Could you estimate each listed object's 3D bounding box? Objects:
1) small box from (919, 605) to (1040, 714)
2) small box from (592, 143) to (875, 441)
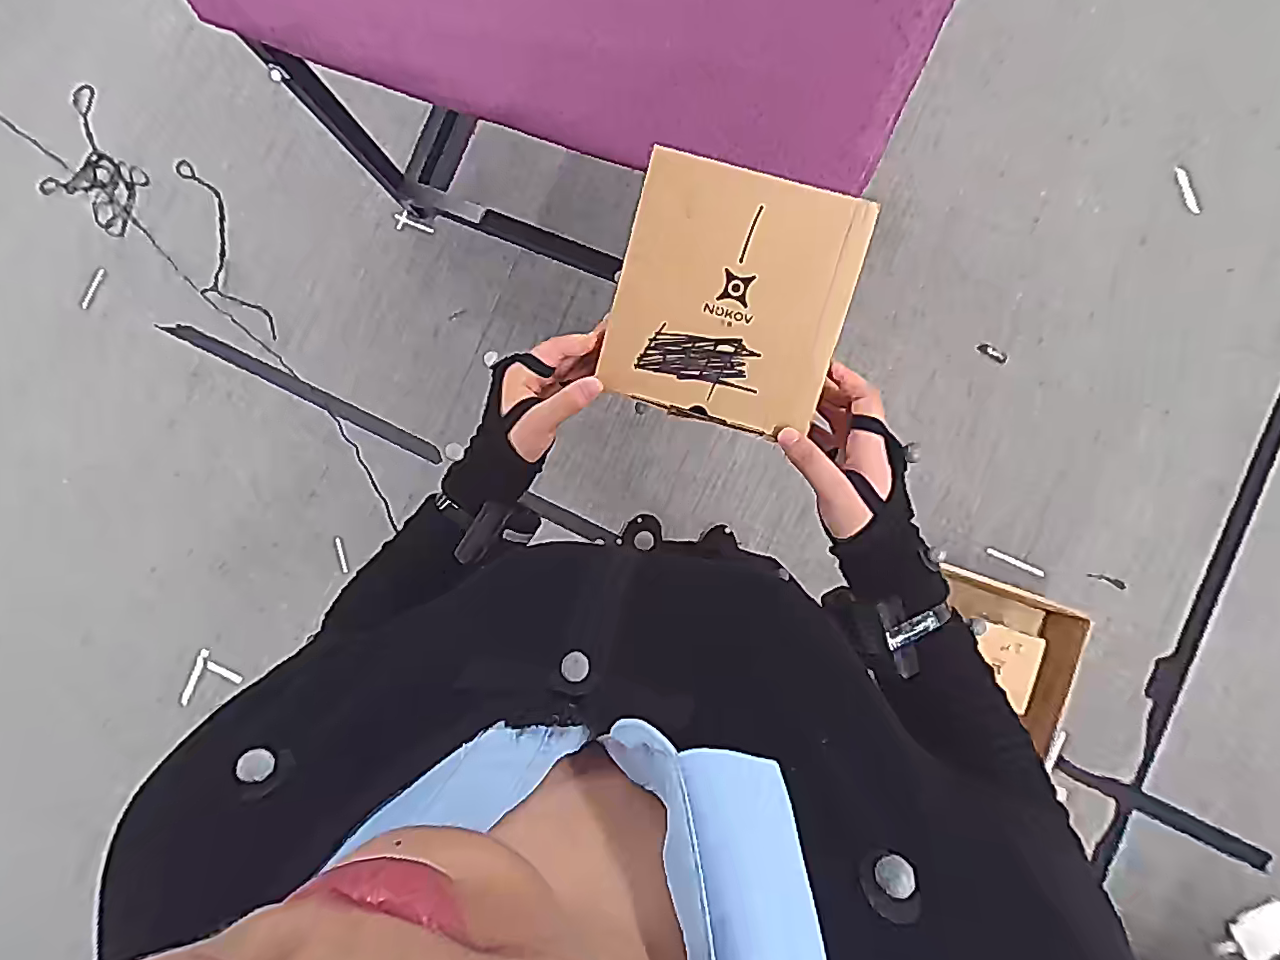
[{"bbox_3d":[0.793,0.416,1.284,0.168,0.176,0.179,18,89,5],"label":"small box"},{"bbox_3d":[0.069,-0.142,0.467,0.168,0.176,0.179,16,98,1],"label":"small box"}]
